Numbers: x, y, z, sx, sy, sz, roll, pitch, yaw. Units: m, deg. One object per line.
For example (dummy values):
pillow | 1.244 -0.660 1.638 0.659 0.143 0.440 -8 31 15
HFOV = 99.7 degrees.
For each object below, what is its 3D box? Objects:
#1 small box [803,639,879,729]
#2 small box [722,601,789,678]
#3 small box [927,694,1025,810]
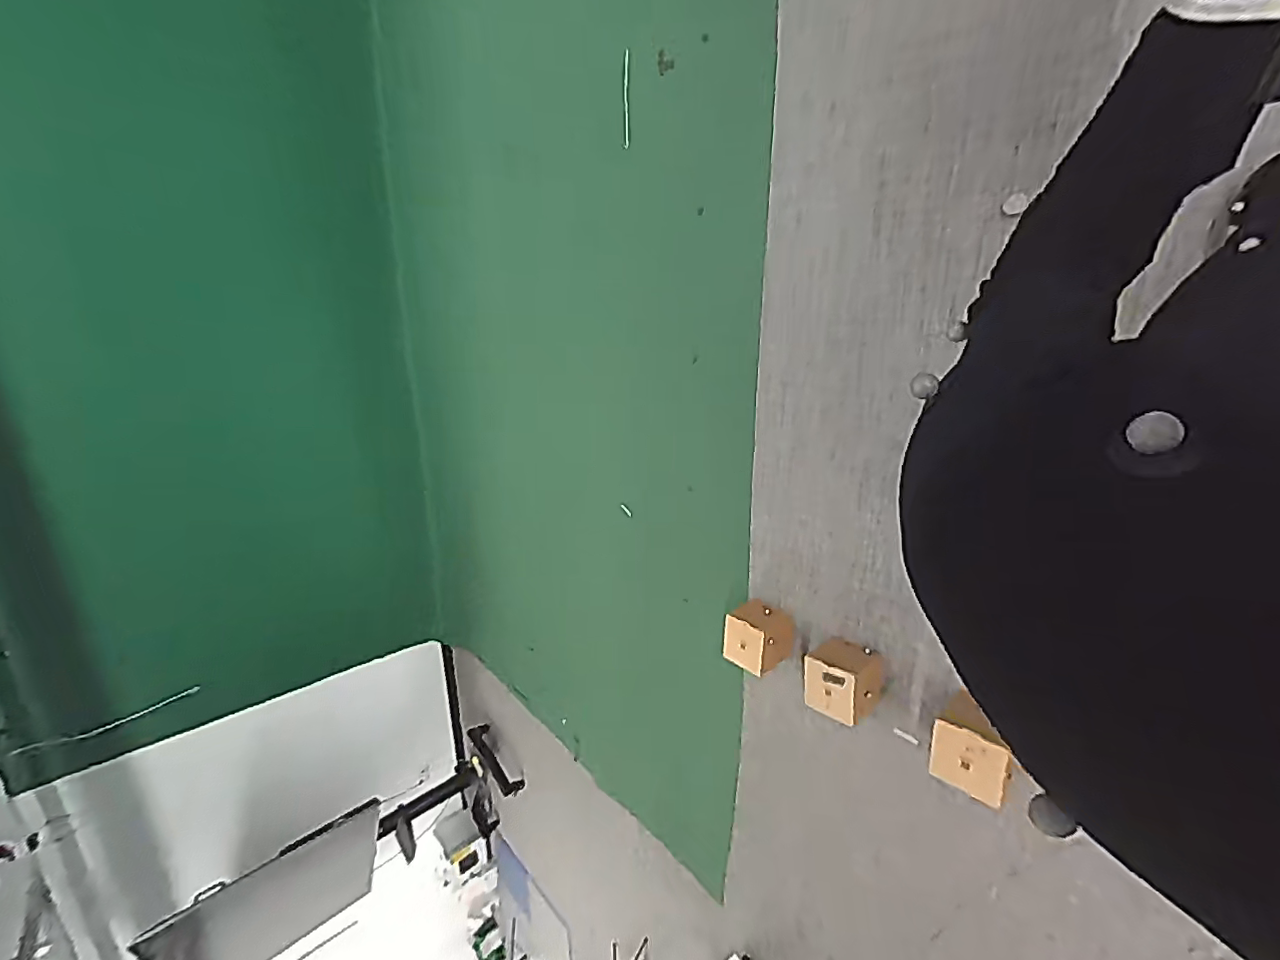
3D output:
small box | 0.623 0.619 1.671 0.168 0.176 0.179 11 109 48
small box | 0.408 0.553 1.904 0.168 0.176 0.179 18 113 45
small box | 0.871 0.694 1.400 0.168 0.176 0.179 14 110 45
